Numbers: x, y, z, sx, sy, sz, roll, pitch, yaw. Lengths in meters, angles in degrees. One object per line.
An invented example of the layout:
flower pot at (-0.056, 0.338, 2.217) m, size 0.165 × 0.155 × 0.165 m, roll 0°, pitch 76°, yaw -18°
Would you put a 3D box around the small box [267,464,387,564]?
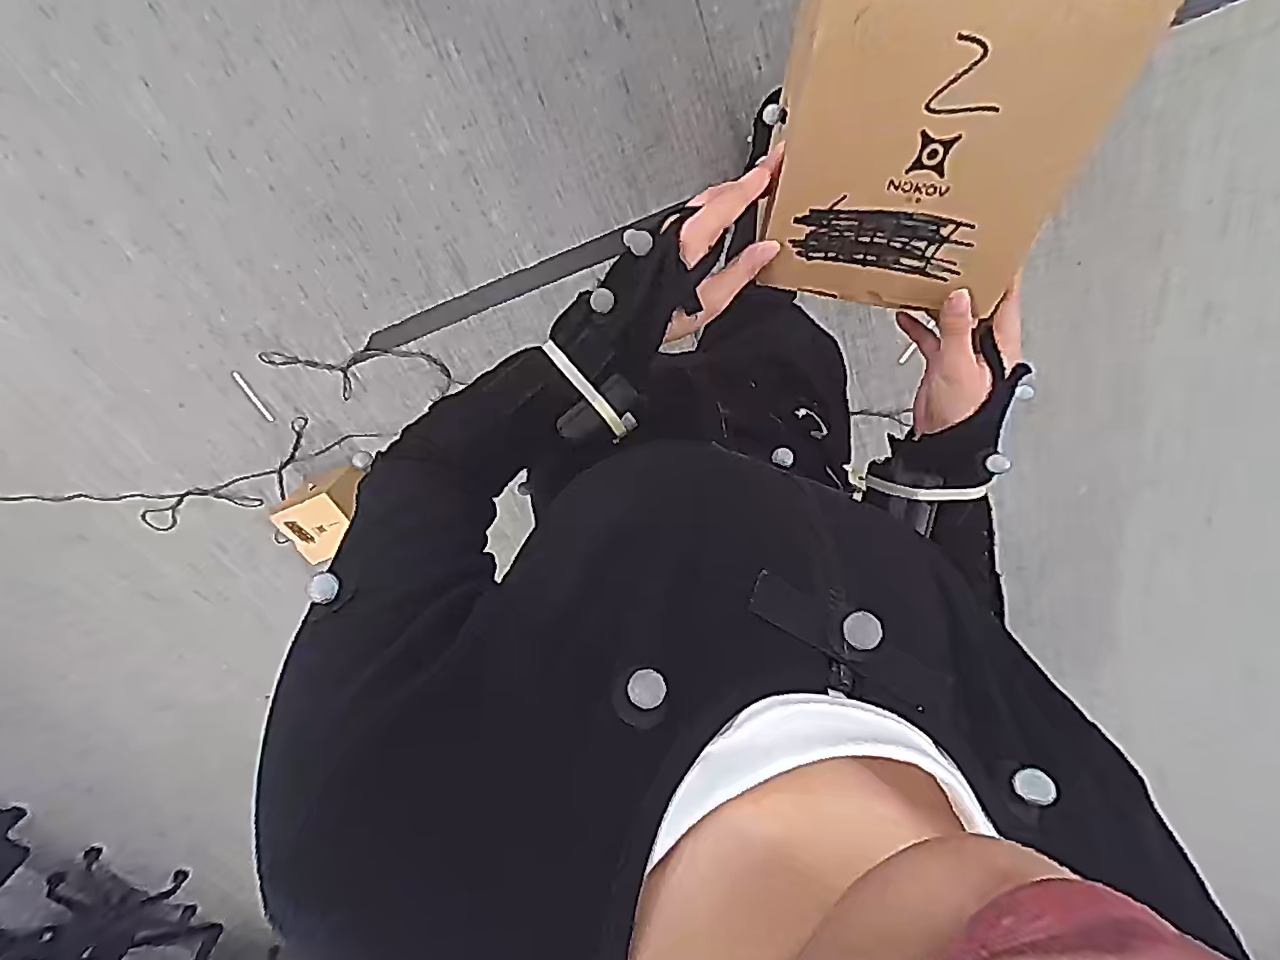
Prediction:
small box at (-0.802, 0.085, 1.406) m, size 0.179 × 0.176 × 0.168 m, roll -21°, pitch 118°, yaw 11°
